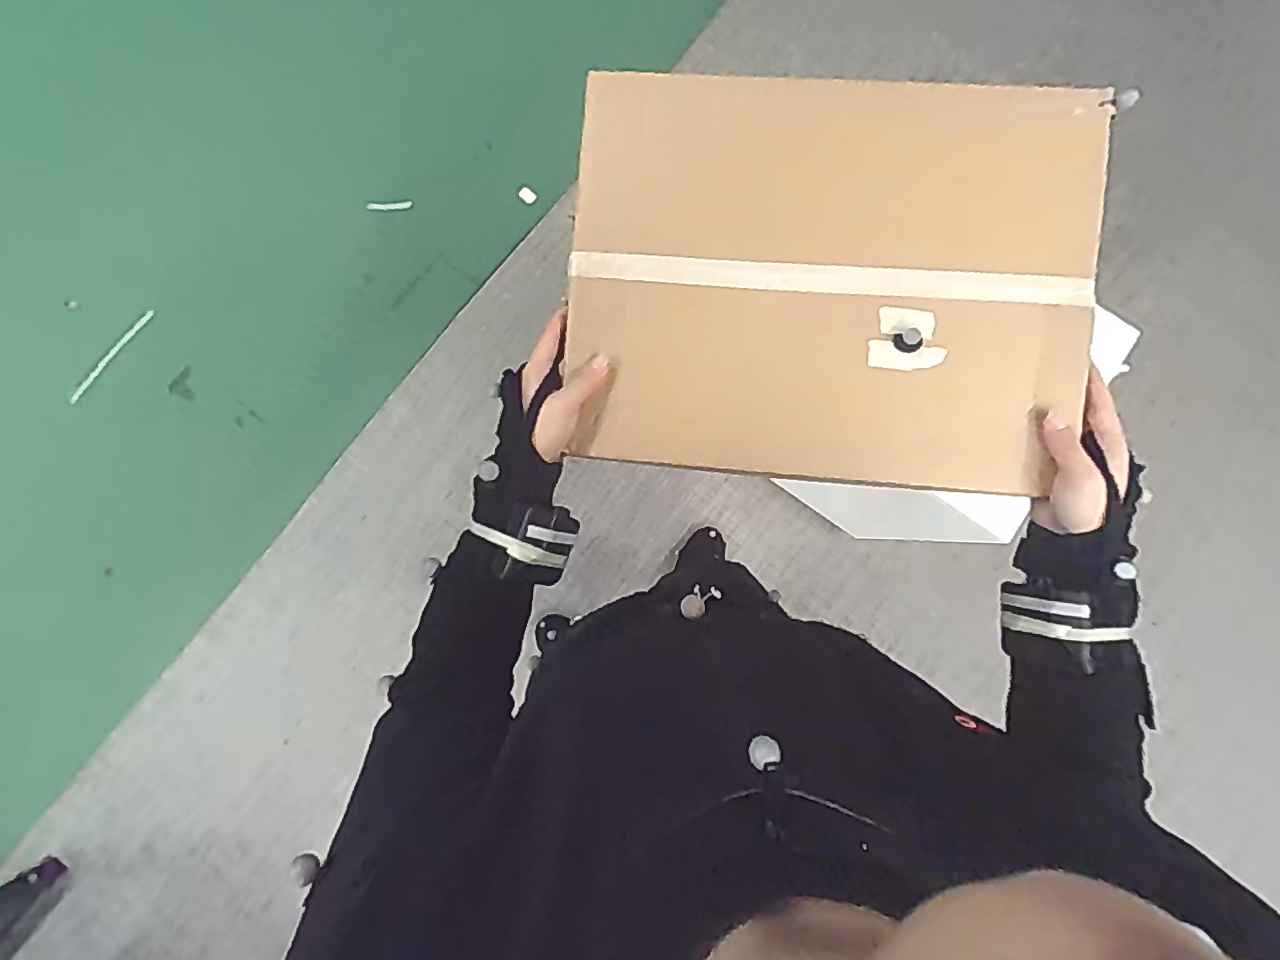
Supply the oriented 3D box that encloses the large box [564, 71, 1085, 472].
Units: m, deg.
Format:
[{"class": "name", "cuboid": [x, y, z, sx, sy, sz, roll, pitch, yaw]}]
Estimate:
[{"class": "large box", "cuboid": [0.147, -0.173, 0.582, 0.408, 0.320, 0.320, 4, 92, 3]}]
